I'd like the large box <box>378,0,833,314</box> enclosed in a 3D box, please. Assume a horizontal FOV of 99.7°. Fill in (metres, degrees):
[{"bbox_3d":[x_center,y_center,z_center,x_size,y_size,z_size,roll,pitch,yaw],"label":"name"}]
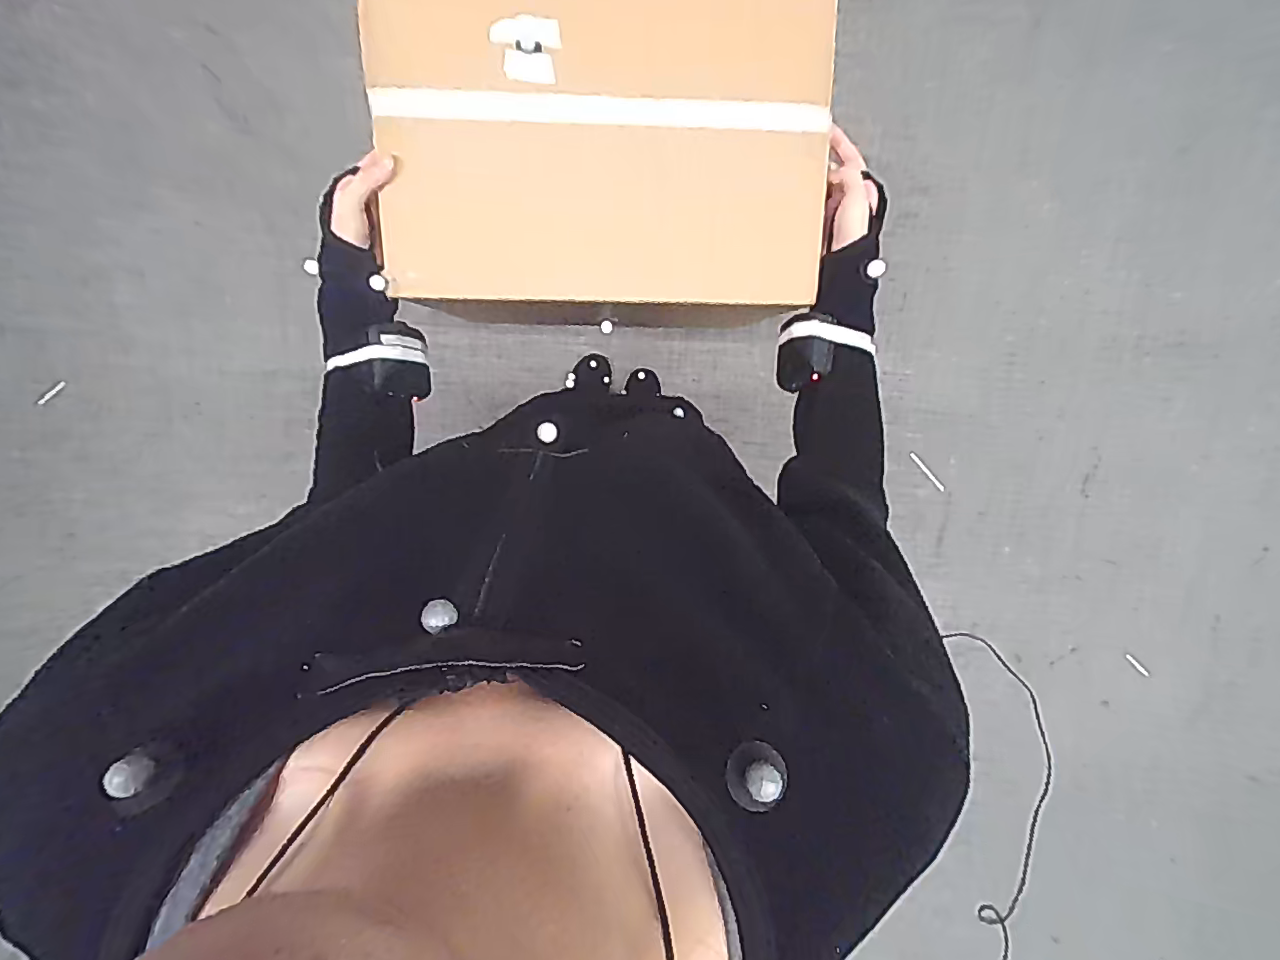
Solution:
[{"bbox_3d":[-0.033,-0.364,0.633,0.408,0.320,0.320,0,102,-3],"label":"large box"}]
